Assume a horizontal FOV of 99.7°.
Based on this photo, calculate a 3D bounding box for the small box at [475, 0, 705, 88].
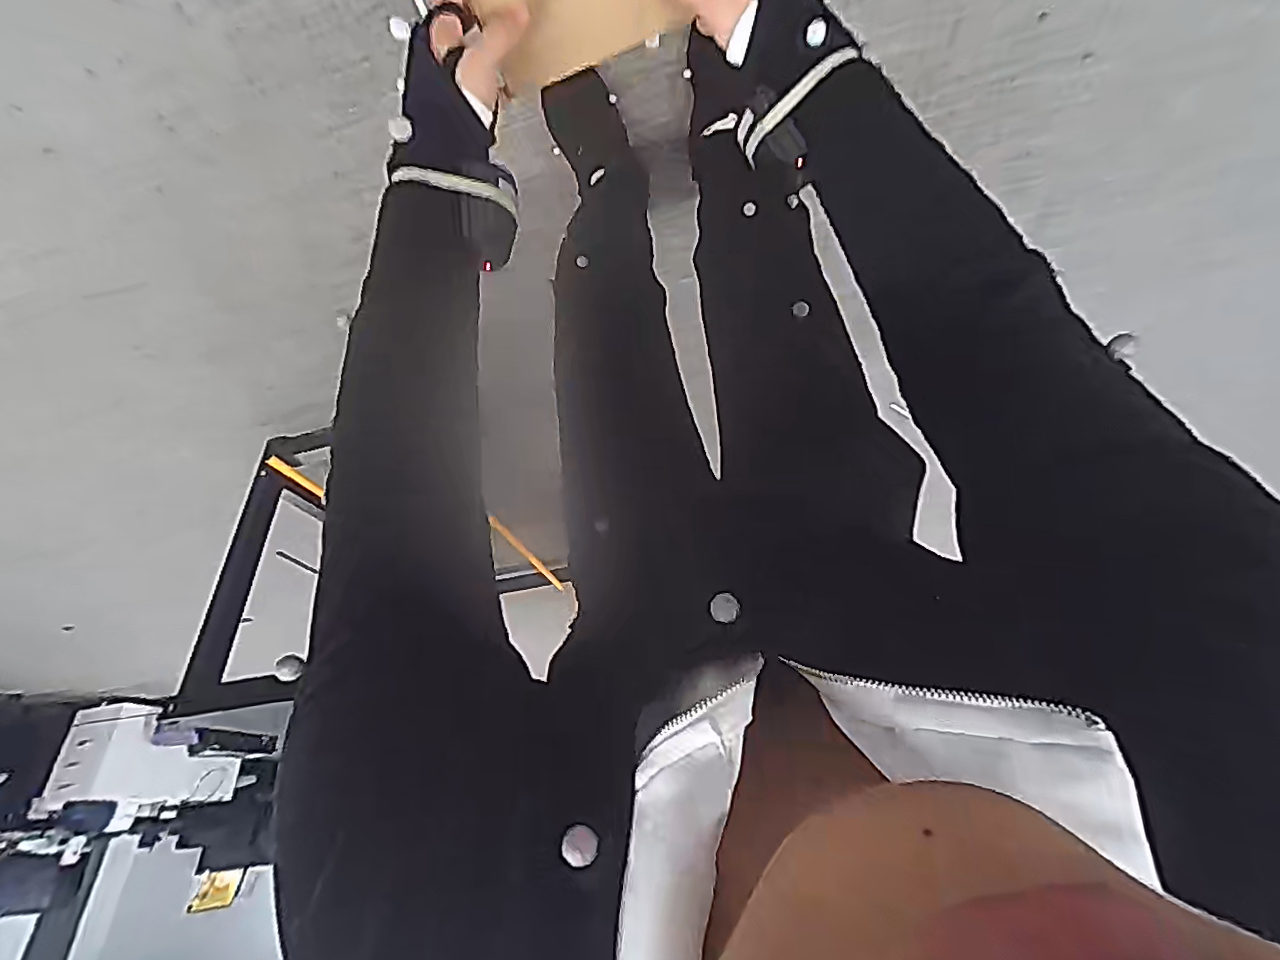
[{"bbox_3d":[-0.060,-0.467,0.437,0.179,0.176,0.168,-16,140,11],"label":"small box"}]
